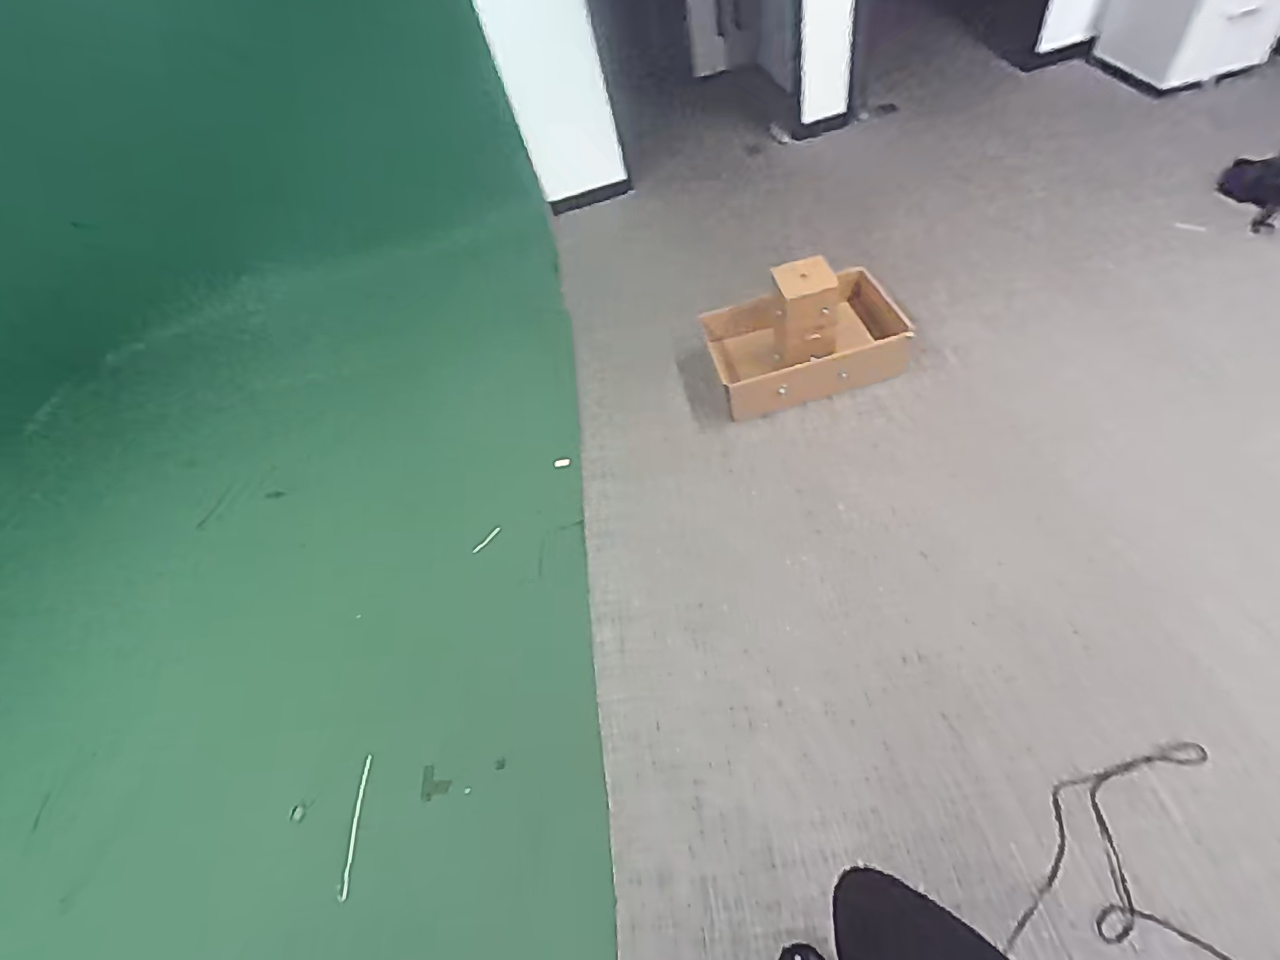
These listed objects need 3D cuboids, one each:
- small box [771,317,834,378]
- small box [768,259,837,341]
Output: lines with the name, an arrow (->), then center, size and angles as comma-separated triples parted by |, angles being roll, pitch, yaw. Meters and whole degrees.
small box -> 0.557, -0.470, 1.856 | 0.168, 0.176, 0.179 | -14, 52, 6
small box -> 0.519, -0.567, 1.731 | 0.168, 0.176, 0.179 | -15, 50, 5
